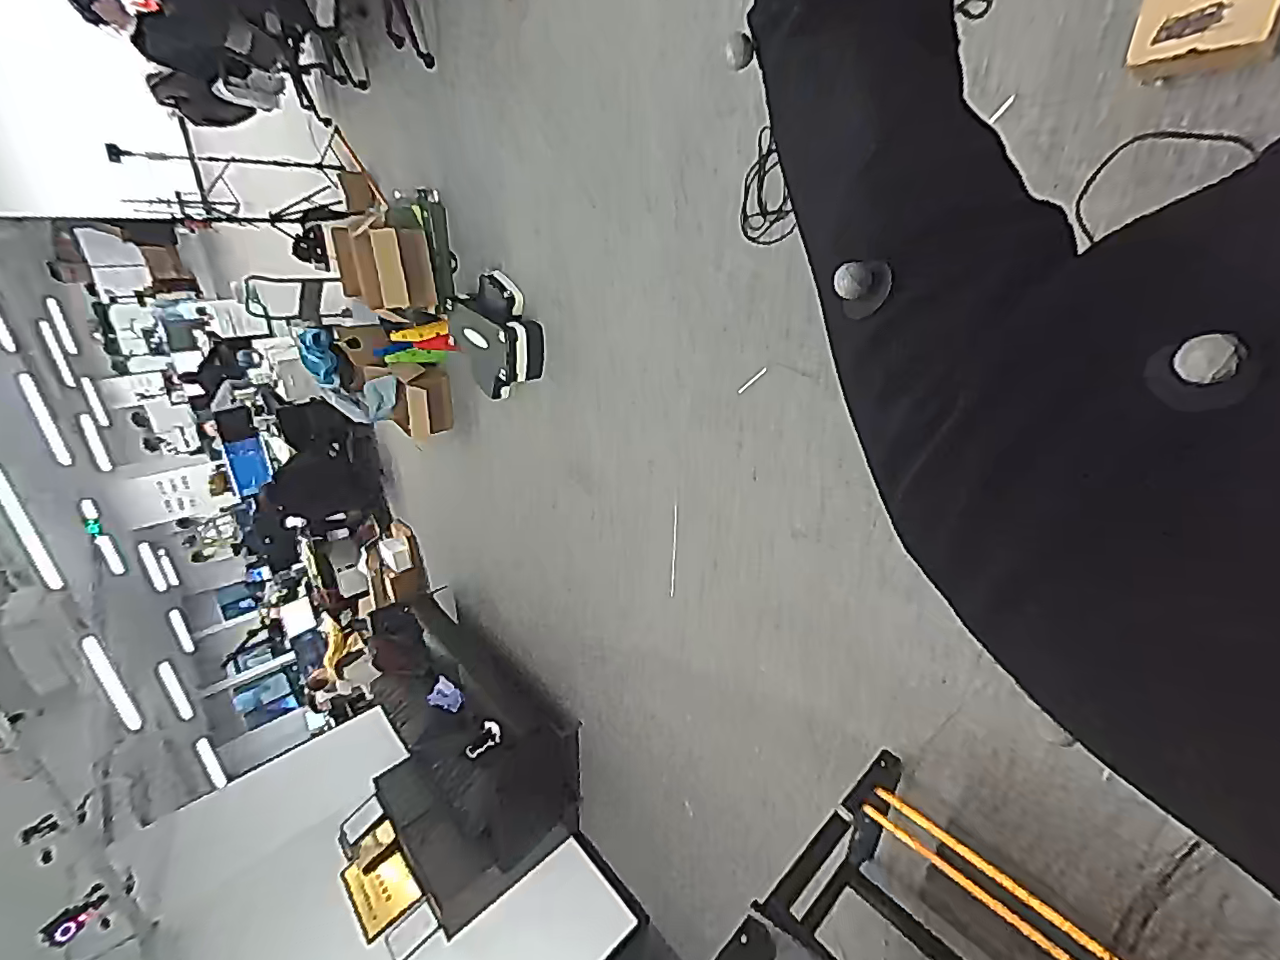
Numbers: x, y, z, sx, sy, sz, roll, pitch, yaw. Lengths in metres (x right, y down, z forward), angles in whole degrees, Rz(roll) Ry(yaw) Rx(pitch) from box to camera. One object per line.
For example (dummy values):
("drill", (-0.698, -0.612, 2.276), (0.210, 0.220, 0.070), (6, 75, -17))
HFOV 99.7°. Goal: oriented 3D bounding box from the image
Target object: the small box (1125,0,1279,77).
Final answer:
("small box", (0.918, -0.765, 0.858), (0.168, 0.176, 0.179), (23, 123, 43))
